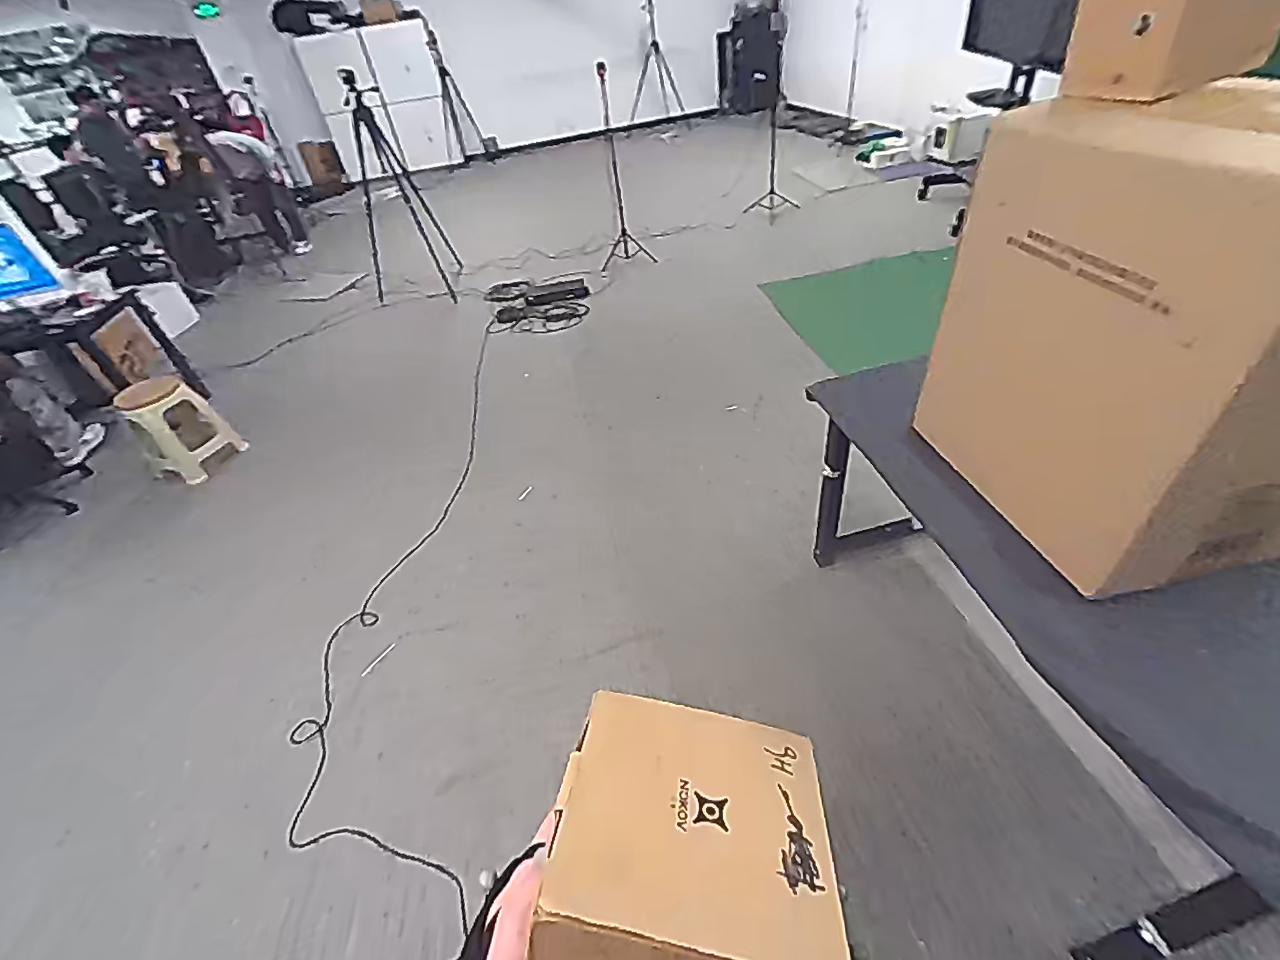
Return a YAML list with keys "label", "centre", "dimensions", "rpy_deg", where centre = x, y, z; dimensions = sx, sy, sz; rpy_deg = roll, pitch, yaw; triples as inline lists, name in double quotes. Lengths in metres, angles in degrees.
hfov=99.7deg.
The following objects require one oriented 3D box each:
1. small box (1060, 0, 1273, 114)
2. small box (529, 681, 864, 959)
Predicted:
- label: "small box"
  centre: [0.762, -0.654, 0.789]
  dimensions: [0.179, 0.176, 0.168]
  rpy_deg: [-16, 41, -4]
- label: "small box"
  centre: [0.027, 0.277, 0.375]
  dimensions: [0.179, 0.176, 0.168]
  rpy_deg: [12, 23, 4]
